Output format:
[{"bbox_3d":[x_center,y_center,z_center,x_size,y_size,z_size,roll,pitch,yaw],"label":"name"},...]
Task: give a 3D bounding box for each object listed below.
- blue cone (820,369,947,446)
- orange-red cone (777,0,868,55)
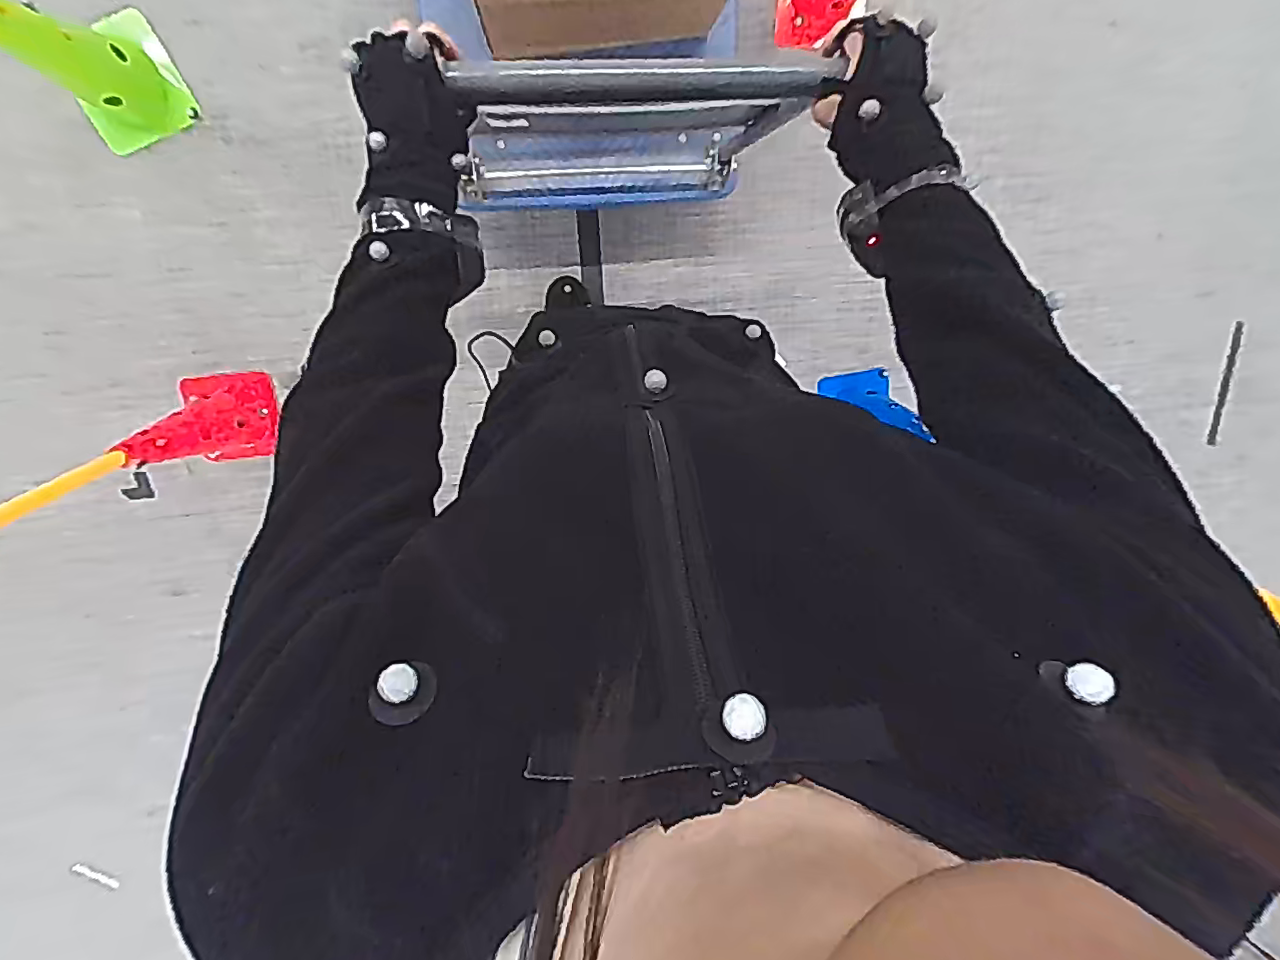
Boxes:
[{"bbox_3d":[0.602,-0.147,1.304,0.193,0.380,0.192,-10,107,-5],"label":"blue cone"},{"bbox_3d":[0.422,-0.986,0.998,0.199,0.360,0.198,0,108,-9],"label":"orange-red cone"}]
